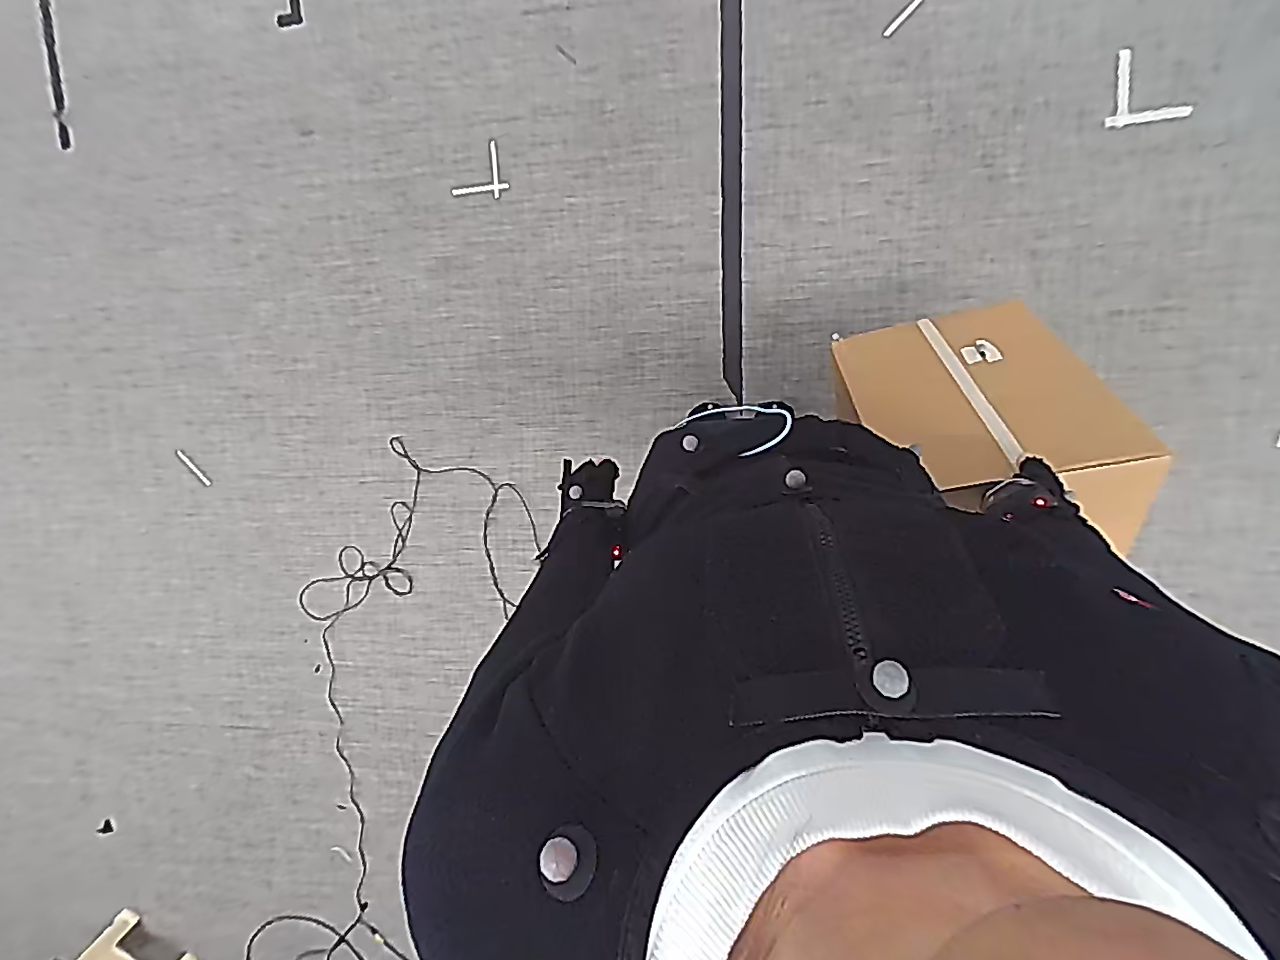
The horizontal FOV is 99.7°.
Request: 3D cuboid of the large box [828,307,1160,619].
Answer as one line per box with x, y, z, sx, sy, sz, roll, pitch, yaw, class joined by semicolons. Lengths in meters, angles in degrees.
0.533;-0.032;0.922;0.320;0.408;0.320;-11;131;12;large box
